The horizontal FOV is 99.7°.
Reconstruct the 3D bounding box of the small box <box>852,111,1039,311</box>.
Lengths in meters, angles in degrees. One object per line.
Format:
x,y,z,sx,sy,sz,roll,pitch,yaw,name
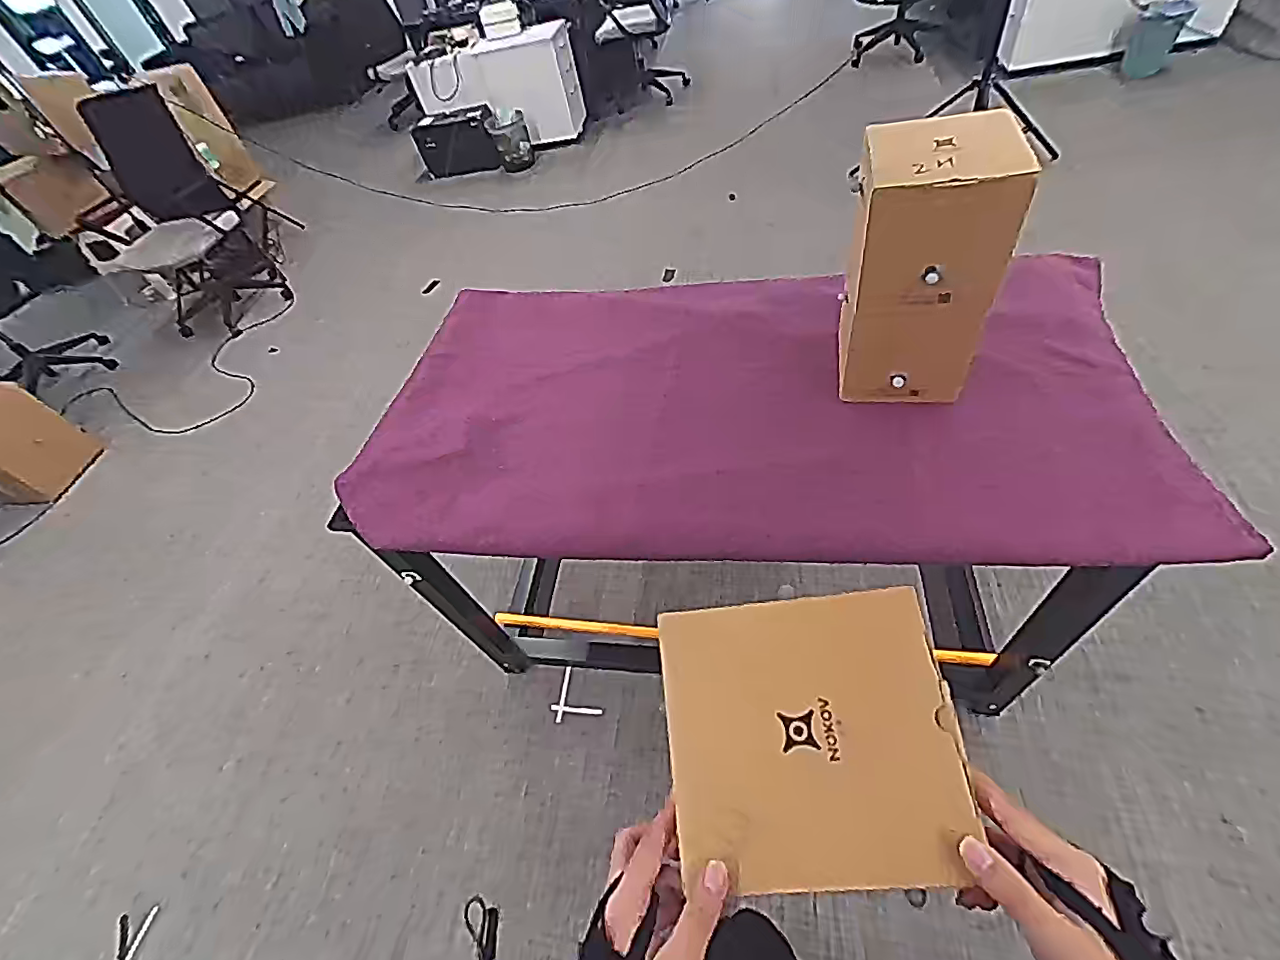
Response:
0.370,-0.339,0.695,0.168,0.176,0.179,2,53,16,small box

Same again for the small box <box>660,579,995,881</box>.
0.119,0.183,0.409,0.179,0.176,0.168,-8,65,7,small box

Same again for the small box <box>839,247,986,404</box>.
0.397,-0.238,0.823,0.168,0.176,0.179,3,53,16,small box
